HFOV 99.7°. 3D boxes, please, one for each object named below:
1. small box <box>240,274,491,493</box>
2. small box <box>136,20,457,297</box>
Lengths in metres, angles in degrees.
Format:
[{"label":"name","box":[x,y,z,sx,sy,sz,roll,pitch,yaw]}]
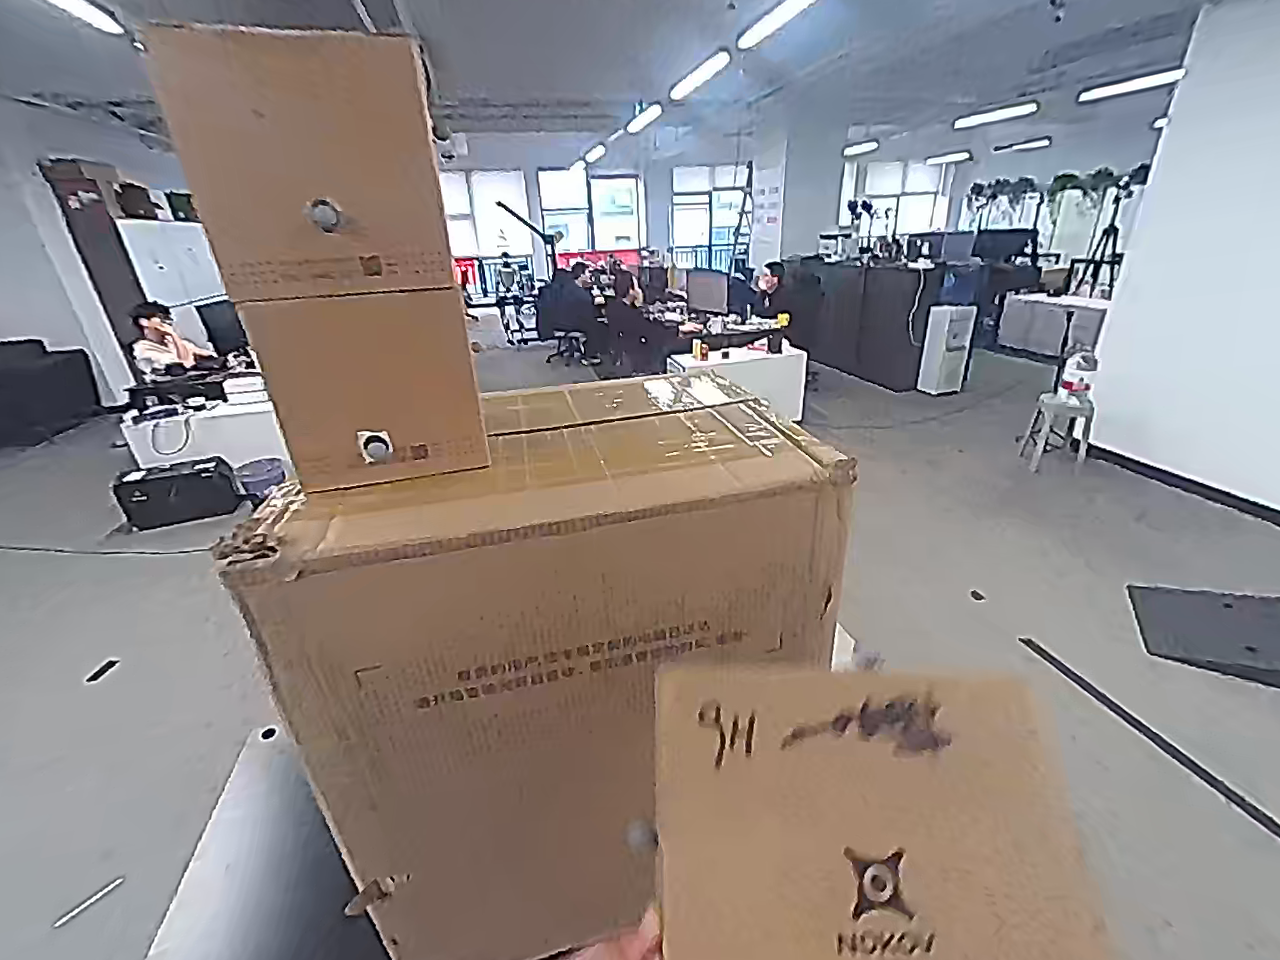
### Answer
[{"label":"small box","box":[-0.249,-0.105,0.533,0.168,0.176,0.179,-11,28,-17]},{"label":"small box","box":[-0.257,-0.253,0.459,0.168,0.176,0.179,-10,27,-15]}]
